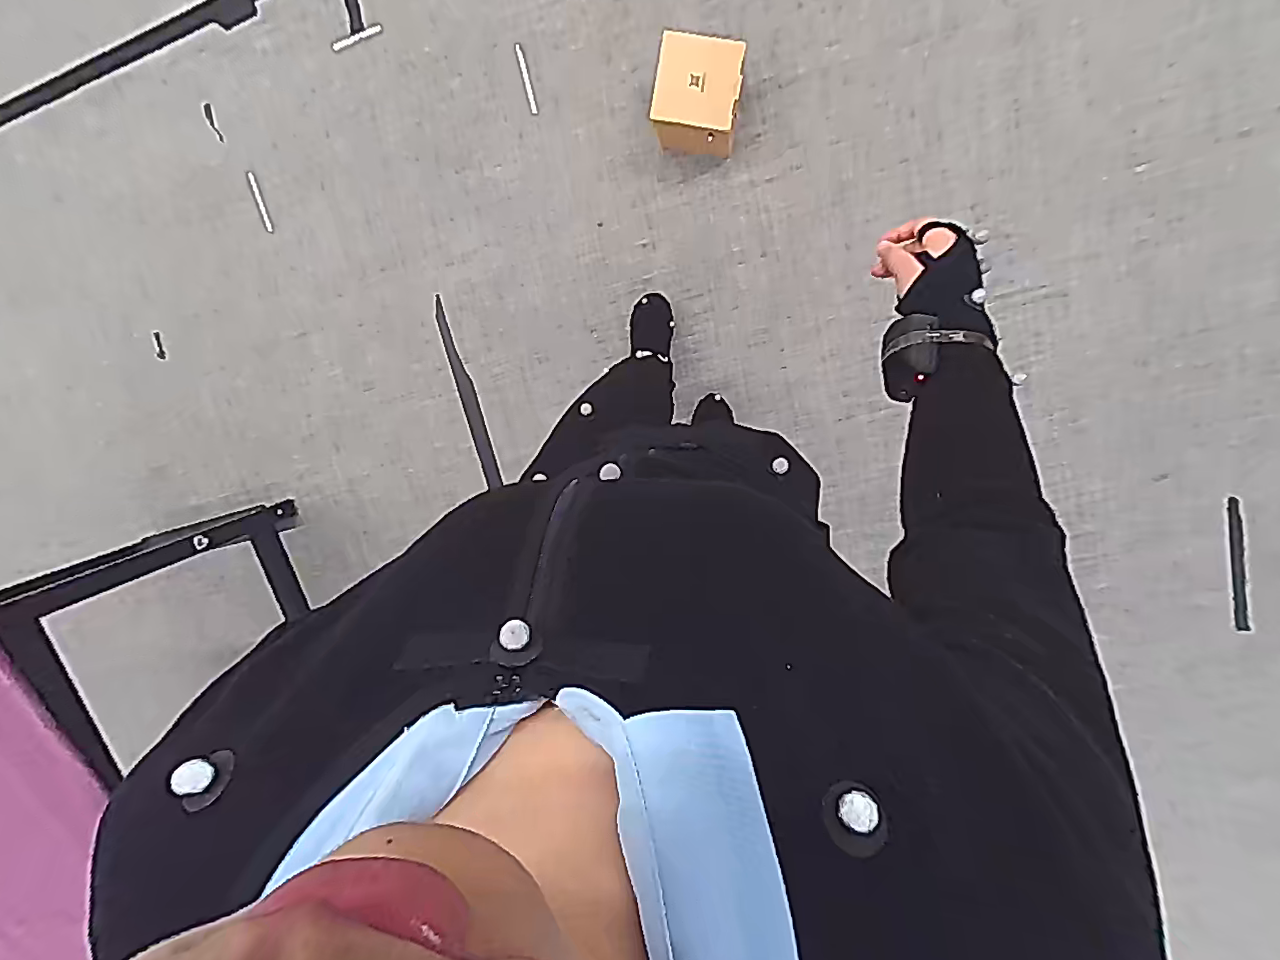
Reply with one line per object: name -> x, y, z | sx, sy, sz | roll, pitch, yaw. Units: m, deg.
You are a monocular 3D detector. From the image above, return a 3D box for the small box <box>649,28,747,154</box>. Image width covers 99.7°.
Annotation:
small box -> 0.128, -0.849, 1.195 | 0.179, 0.176, 0.168 | 12, 105, 4
